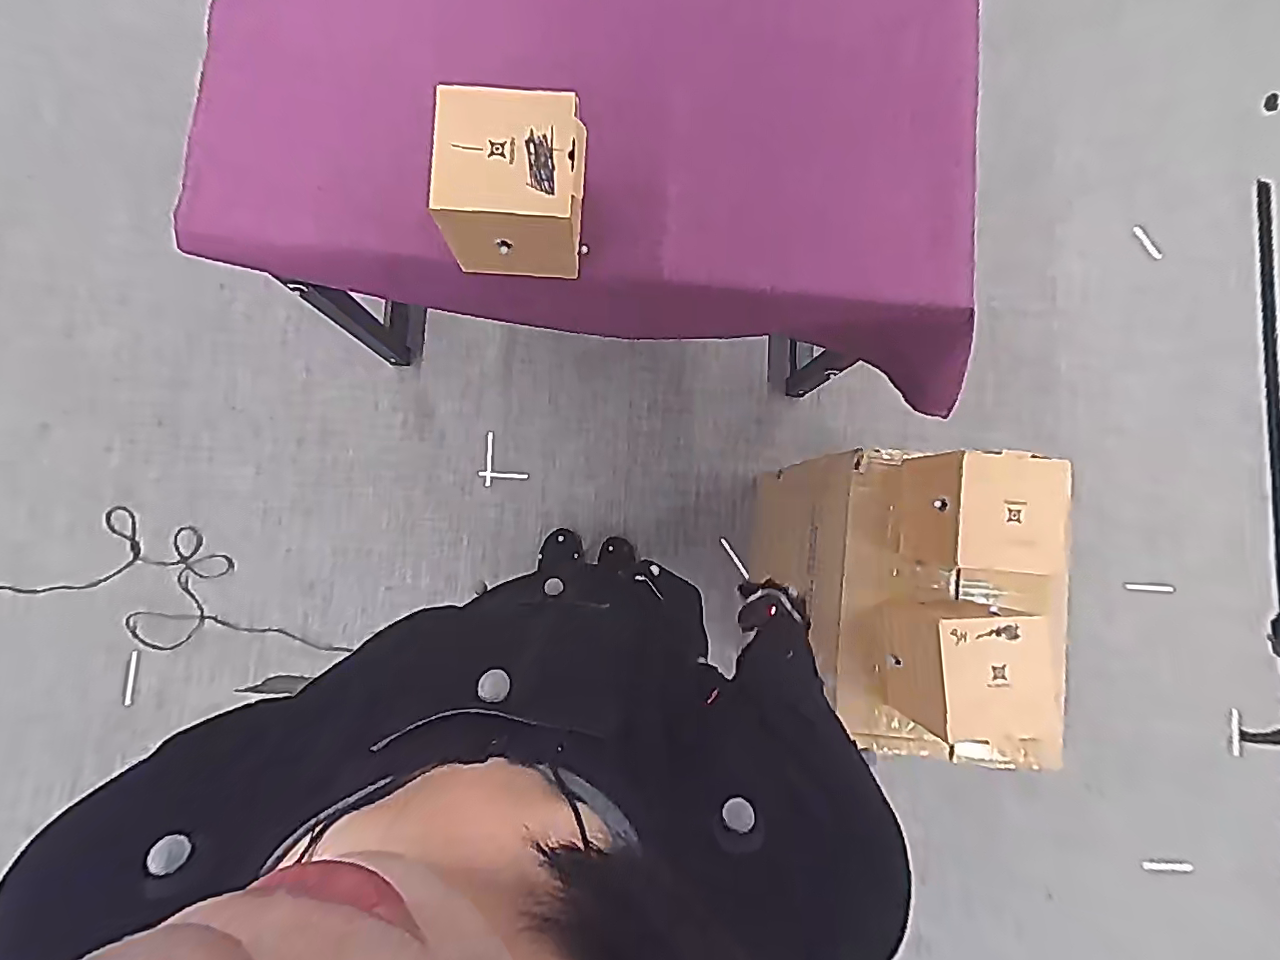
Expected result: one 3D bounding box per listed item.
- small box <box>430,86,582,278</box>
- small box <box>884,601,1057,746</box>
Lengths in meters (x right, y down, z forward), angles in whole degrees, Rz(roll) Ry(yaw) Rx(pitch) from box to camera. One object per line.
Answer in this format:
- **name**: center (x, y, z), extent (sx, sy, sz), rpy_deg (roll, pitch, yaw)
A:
- **small box**: center (-0.173, -0.398, 0.751), extent (0.179, 0.176, 0.168), rpy_deg (2, 84, -3)
- **small box**: center (0.504, 0.292, 0.847), extent (0.168, 0.176, 0.179), rpy_deg (-1, 85, -3)
